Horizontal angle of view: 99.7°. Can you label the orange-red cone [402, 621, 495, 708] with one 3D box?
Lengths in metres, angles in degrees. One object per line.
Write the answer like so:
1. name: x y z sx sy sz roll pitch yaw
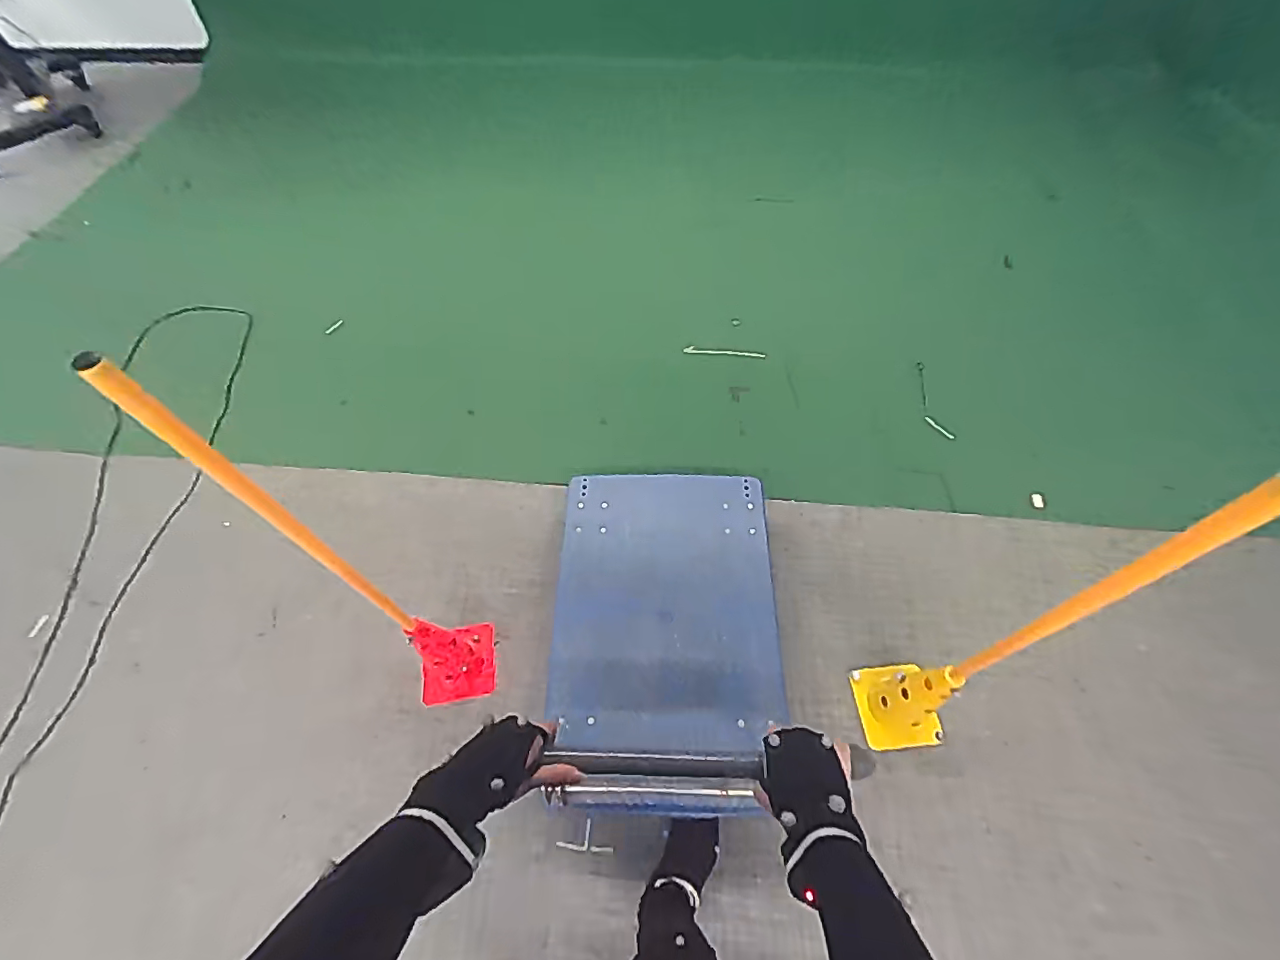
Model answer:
1. orange-red cone: -0.512 0.428 1.357 0.199 0.360 0.198 -9 58 -2
